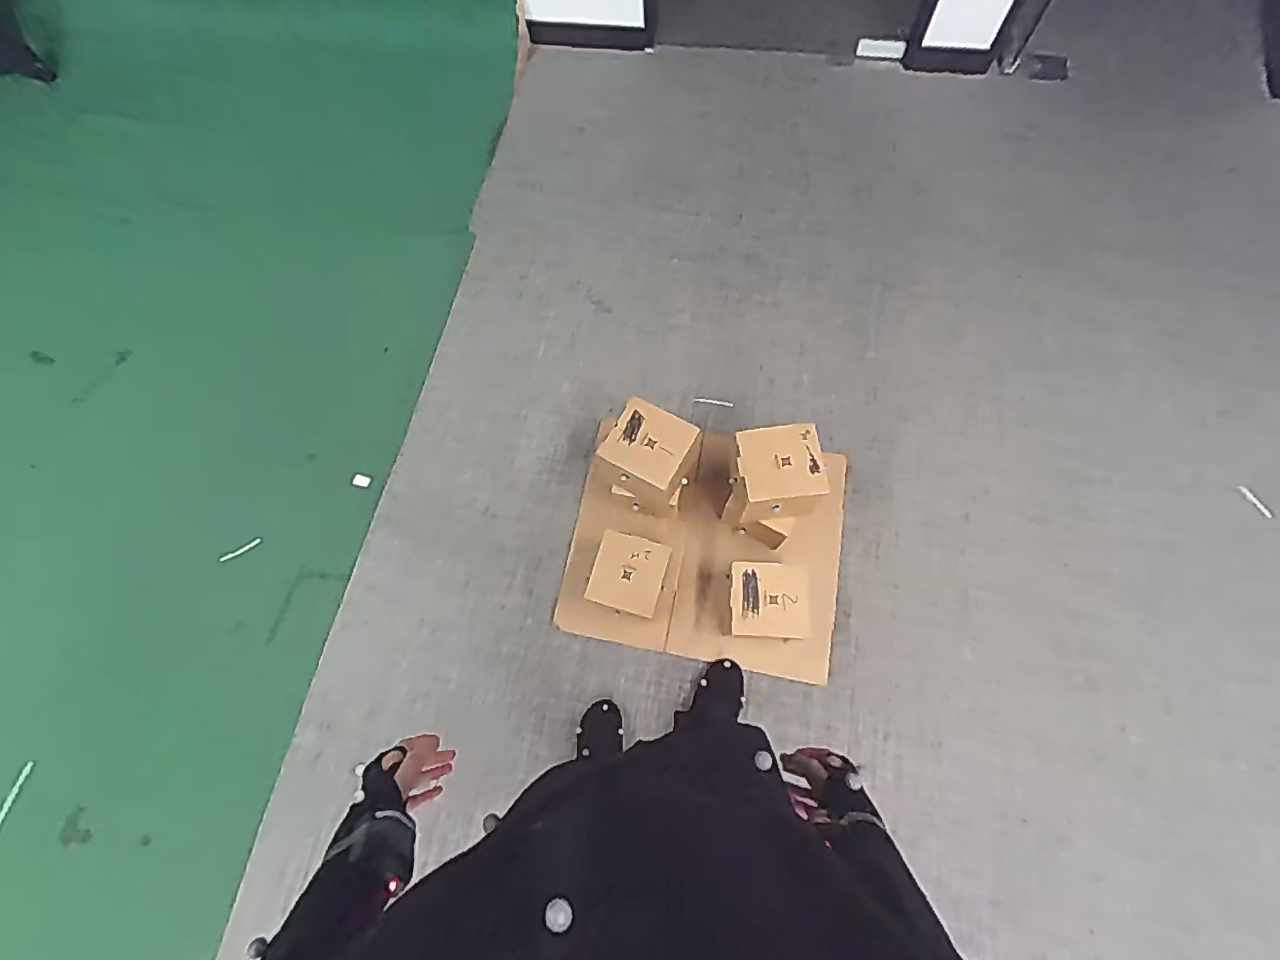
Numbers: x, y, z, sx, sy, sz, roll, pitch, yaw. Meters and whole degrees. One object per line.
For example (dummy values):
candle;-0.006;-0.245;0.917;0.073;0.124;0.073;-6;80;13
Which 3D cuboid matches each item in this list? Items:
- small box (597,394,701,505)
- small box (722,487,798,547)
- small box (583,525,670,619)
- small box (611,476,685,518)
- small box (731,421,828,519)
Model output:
small box;0.021;-0.063;1.254;0.179;0.176;0.168;29;74;11
small box;0.320;0.046;1.372;0.168;0.176;0.179;29;76;12
small box;-0.025;0.233;1.327;0.168;0.176;0.179;16;72;7
small box;0.030;-0.012;1.410;0.168;0.176;0.179;12;72;7
small box;0.303;-0.016;1.221;0.179;0.176;0.168;-6;71;2
